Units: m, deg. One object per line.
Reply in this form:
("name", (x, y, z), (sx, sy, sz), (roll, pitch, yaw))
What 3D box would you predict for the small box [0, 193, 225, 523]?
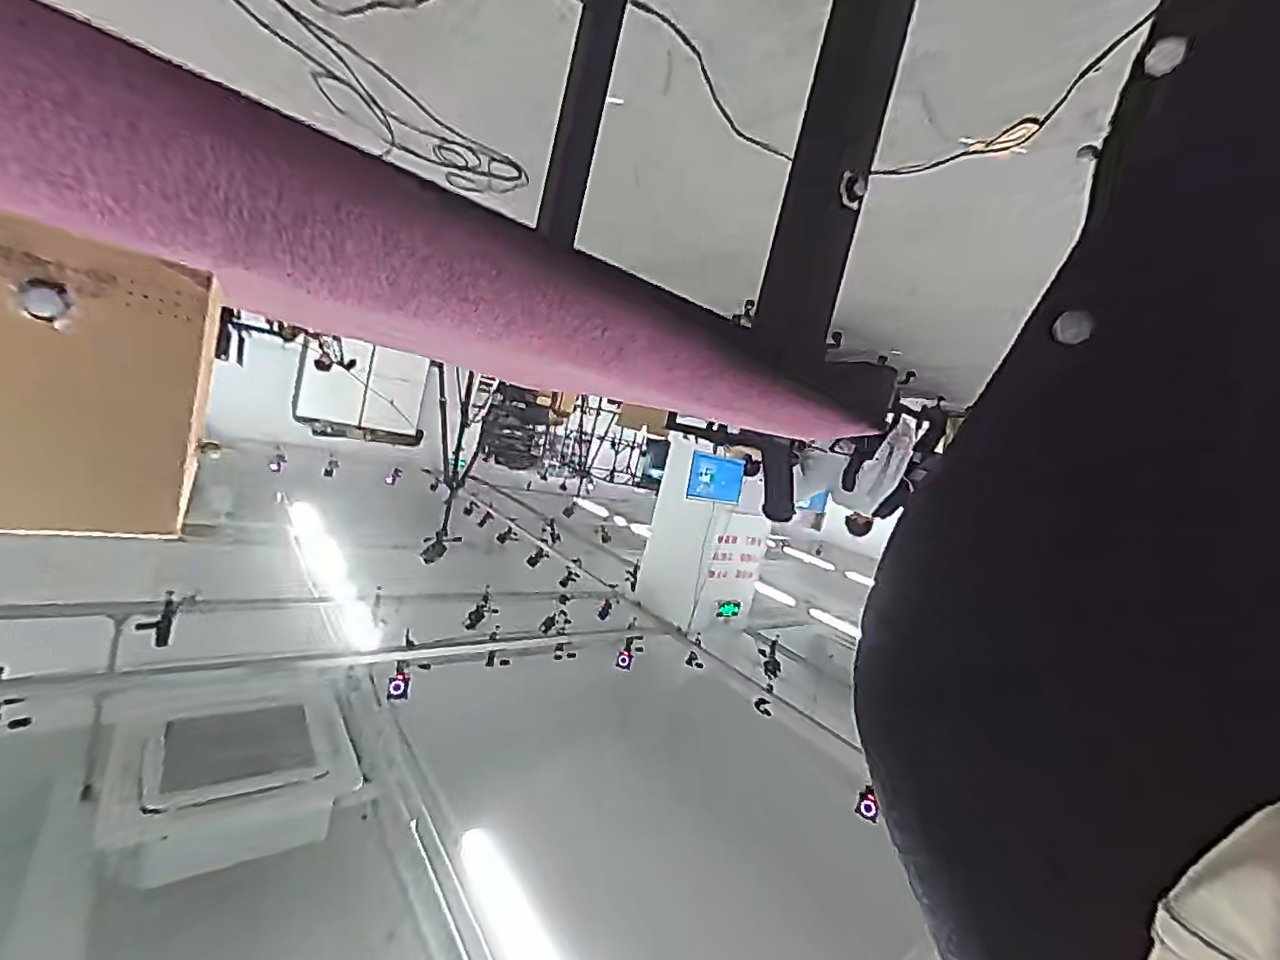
("small box", (-0.384, -0.081, 0.350), (0.168, 0.176, 0.179), (8, -173, -38))
